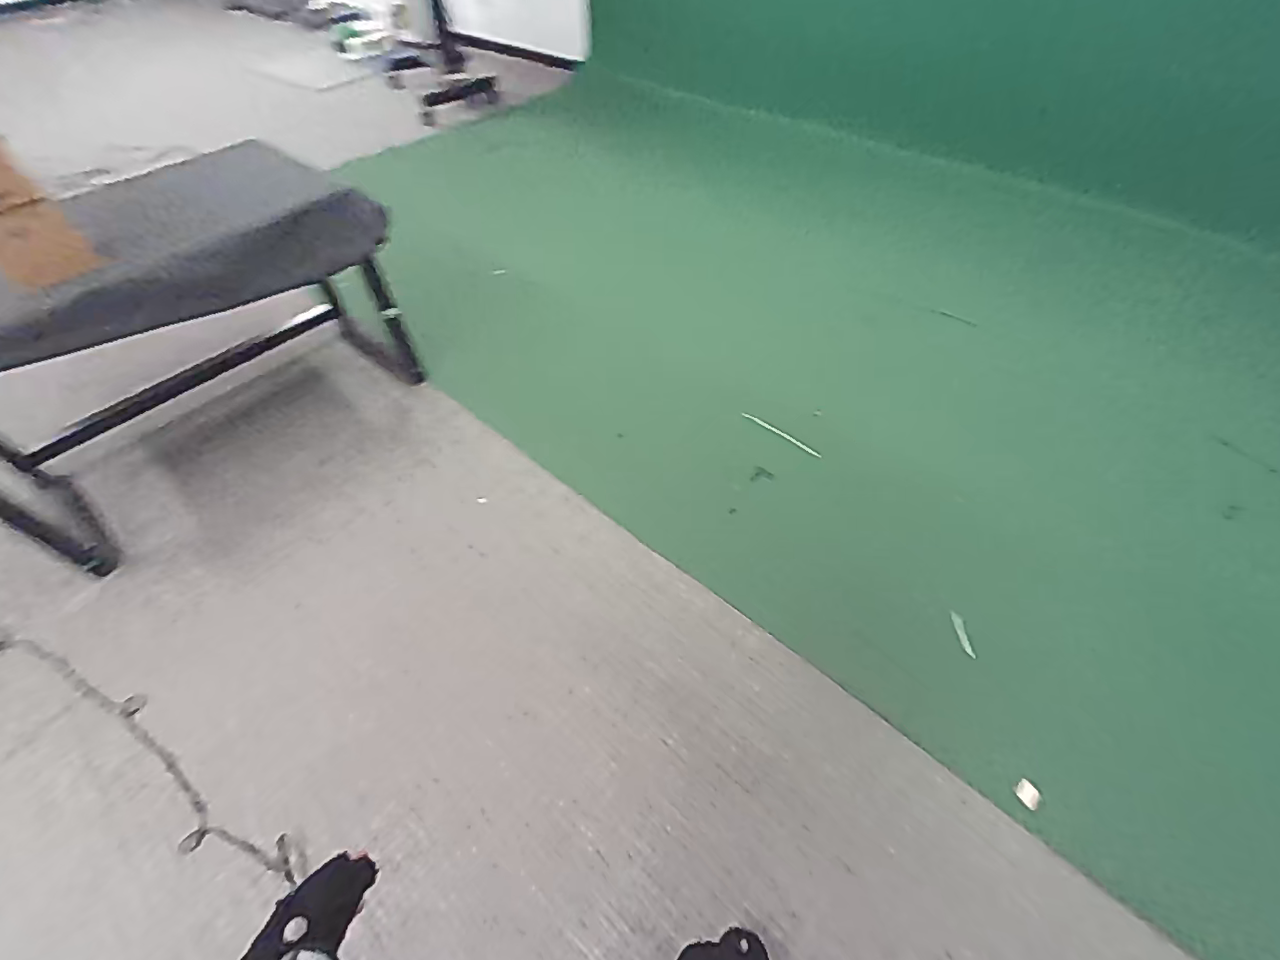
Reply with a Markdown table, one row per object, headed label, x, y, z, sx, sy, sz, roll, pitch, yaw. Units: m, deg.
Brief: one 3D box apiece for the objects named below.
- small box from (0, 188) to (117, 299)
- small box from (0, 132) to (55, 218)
| label | x | y | z | sx | sy | sz | roll | pitch | yaw |
| --- | --- | --- | --- | --- | --- | --- | --- | --- | --- |
| small box | -1.417 | -0.559 | 1.281 | 0.168 | 0.176 | 0.179 | 36 | 60 | 26 |
| small box | -1.420 | -0.671 | 1.143 | 0.179 | 0.176 | 0.168 | 35 | 61 | 25 |
